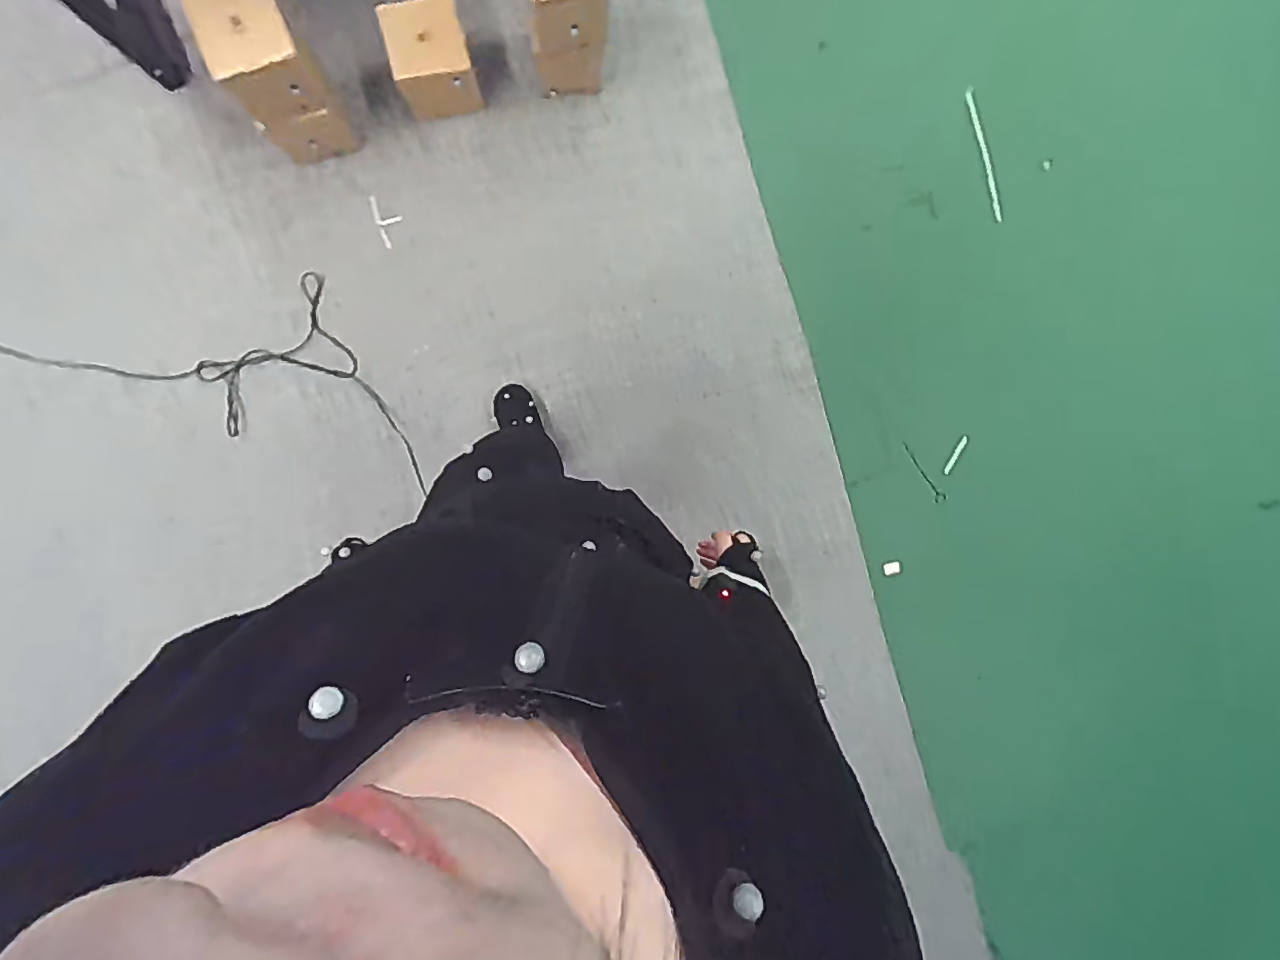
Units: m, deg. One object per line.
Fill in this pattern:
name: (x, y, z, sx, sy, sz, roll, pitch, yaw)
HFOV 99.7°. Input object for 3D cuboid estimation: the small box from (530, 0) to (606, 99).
small box: (-0.175, -1.084, 1.346, 0.168, 0.176, 0.179, -8, 93, -4)

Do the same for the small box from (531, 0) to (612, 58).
small box: (-0.155, -1.069, 1.183, 0.168, 0.176, 0.179, -12, 96, -4)
